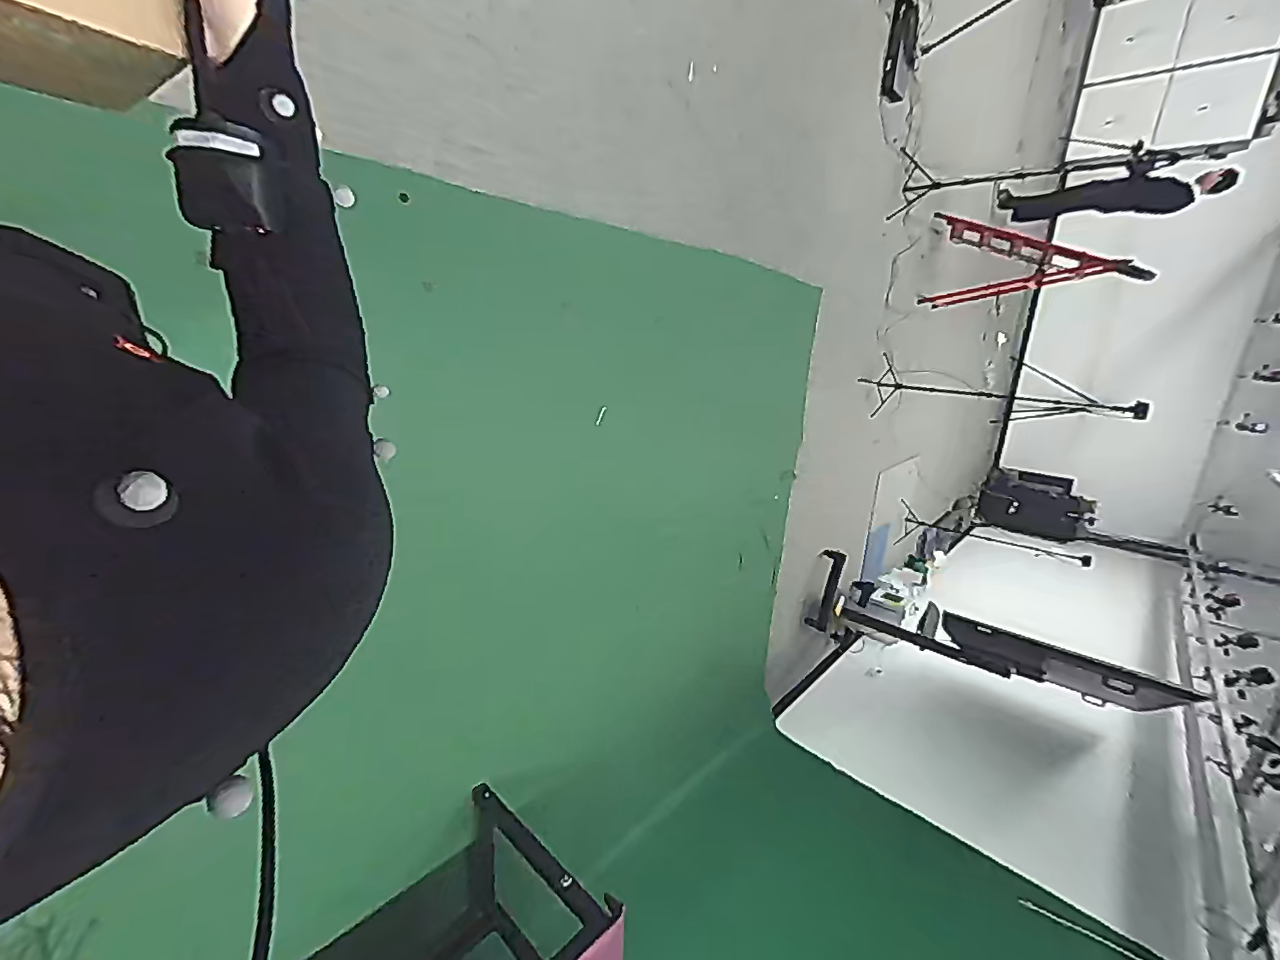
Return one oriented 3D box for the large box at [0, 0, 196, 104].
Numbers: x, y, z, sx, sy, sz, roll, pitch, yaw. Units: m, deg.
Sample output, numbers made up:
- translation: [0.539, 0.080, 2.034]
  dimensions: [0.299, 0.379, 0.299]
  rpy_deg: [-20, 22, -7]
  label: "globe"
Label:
- translation: [-0.521, -0.442, 0.260]
  dimensions: [0.408, 0.320, 0.320]
  rpy_deg: [-12, 118, -48]
  label: "large box"
